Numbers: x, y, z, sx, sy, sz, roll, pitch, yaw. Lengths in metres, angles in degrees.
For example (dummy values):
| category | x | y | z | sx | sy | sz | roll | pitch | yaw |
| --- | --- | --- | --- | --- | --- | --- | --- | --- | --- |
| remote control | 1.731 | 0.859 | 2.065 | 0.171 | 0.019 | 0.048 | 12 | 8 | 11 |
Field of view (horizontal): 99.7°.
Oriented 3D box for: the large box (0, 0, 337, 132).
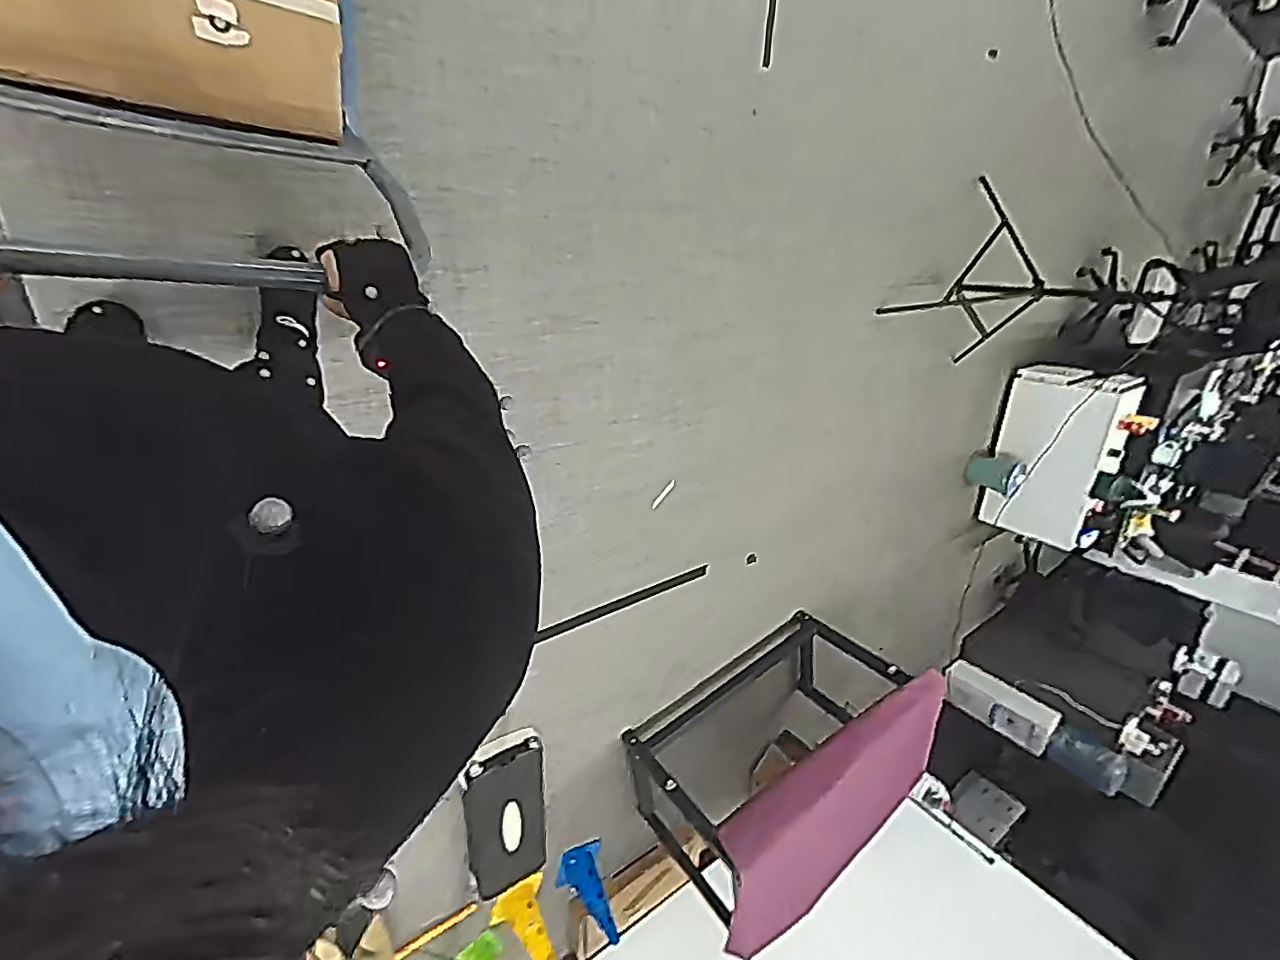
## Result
| category | x | y | z | sx | sy | sz | roll | pitch | yaw |
| --- | --- | --- | --- | --- | --- | --- | --- | --- | --- |
| large box | -0.675 | -0.711 | 0.731 | 0.408 | 0.320 | 0.320 | -11 | 132 | -35 |
